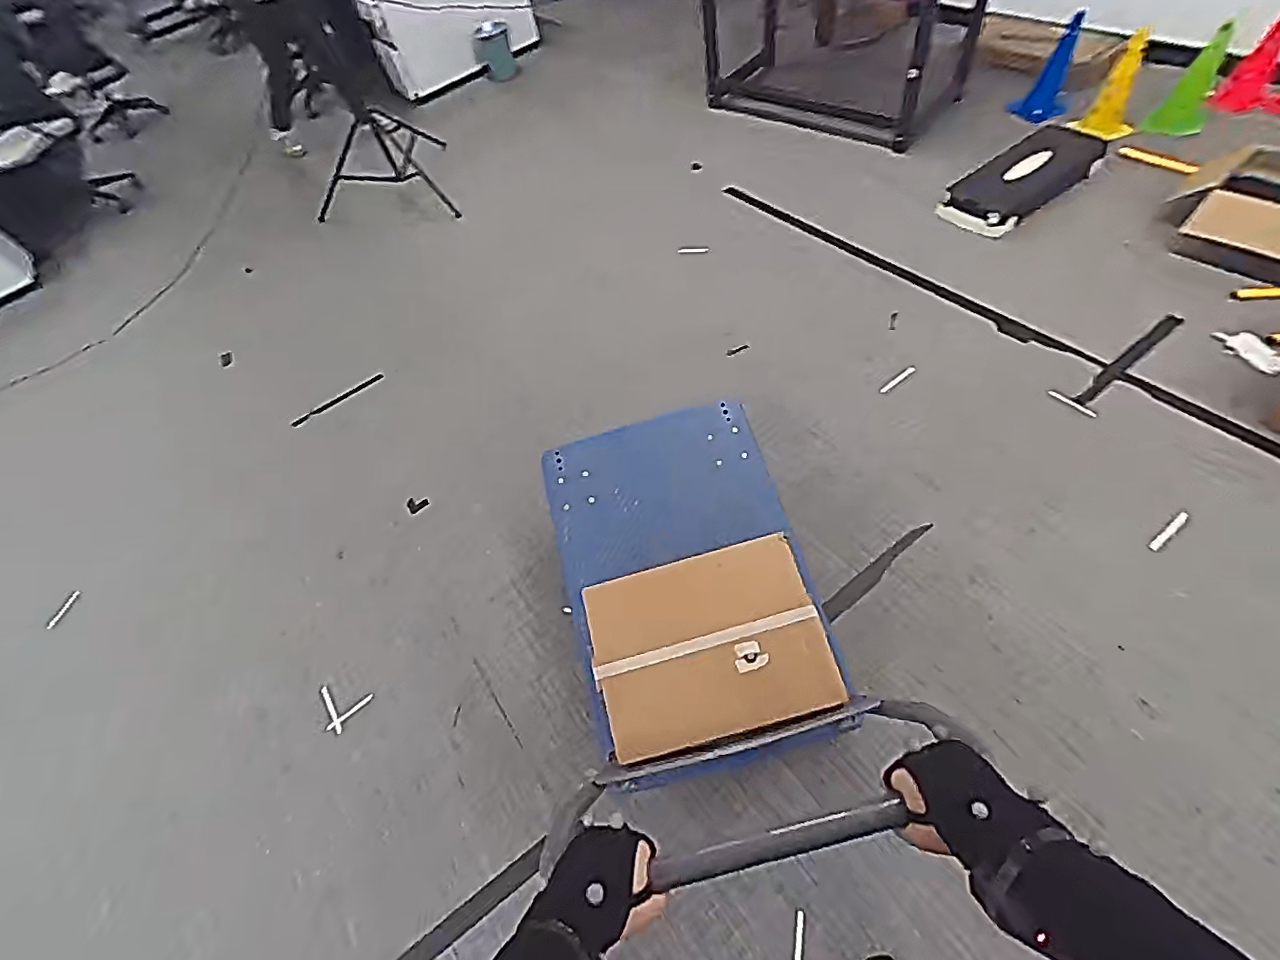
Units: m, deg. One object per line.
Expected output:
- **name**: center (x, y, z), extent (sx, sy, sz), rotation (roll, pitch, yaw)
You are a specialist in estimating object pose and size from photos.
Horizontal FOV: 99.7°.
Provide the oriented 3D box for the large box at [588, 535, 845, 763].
- **large box**: center (0.142, 0.357, 1.121), extent (0.408, 0.320, 0.320), rotation (-16, 66, -1)
